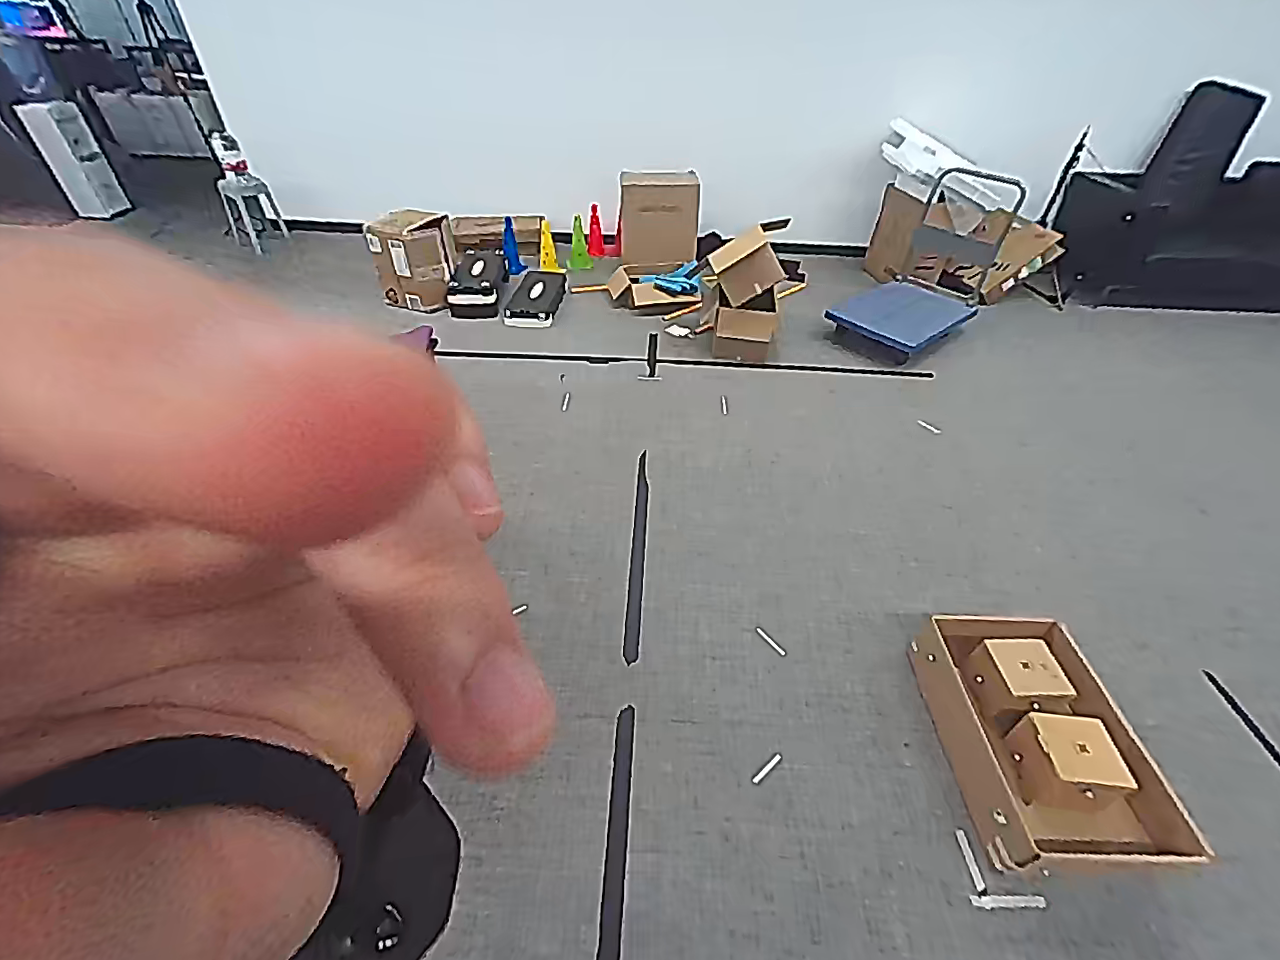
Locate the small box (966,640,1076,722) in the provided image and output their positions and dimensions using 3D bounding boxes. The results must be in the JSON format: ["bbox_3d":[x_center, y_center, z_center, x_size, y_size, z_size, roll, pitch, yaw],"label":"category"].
[{"bbox_3d":[1.055,0.569,1.523,0.179,0.176,0.168,1,43,-2],"label":"small box"}]

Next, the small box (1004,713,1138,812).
[{"bbox_3d":[1.072,0.714,1.362,0.179,0.176,0.168,5,41,4],"label":"small box"}]
